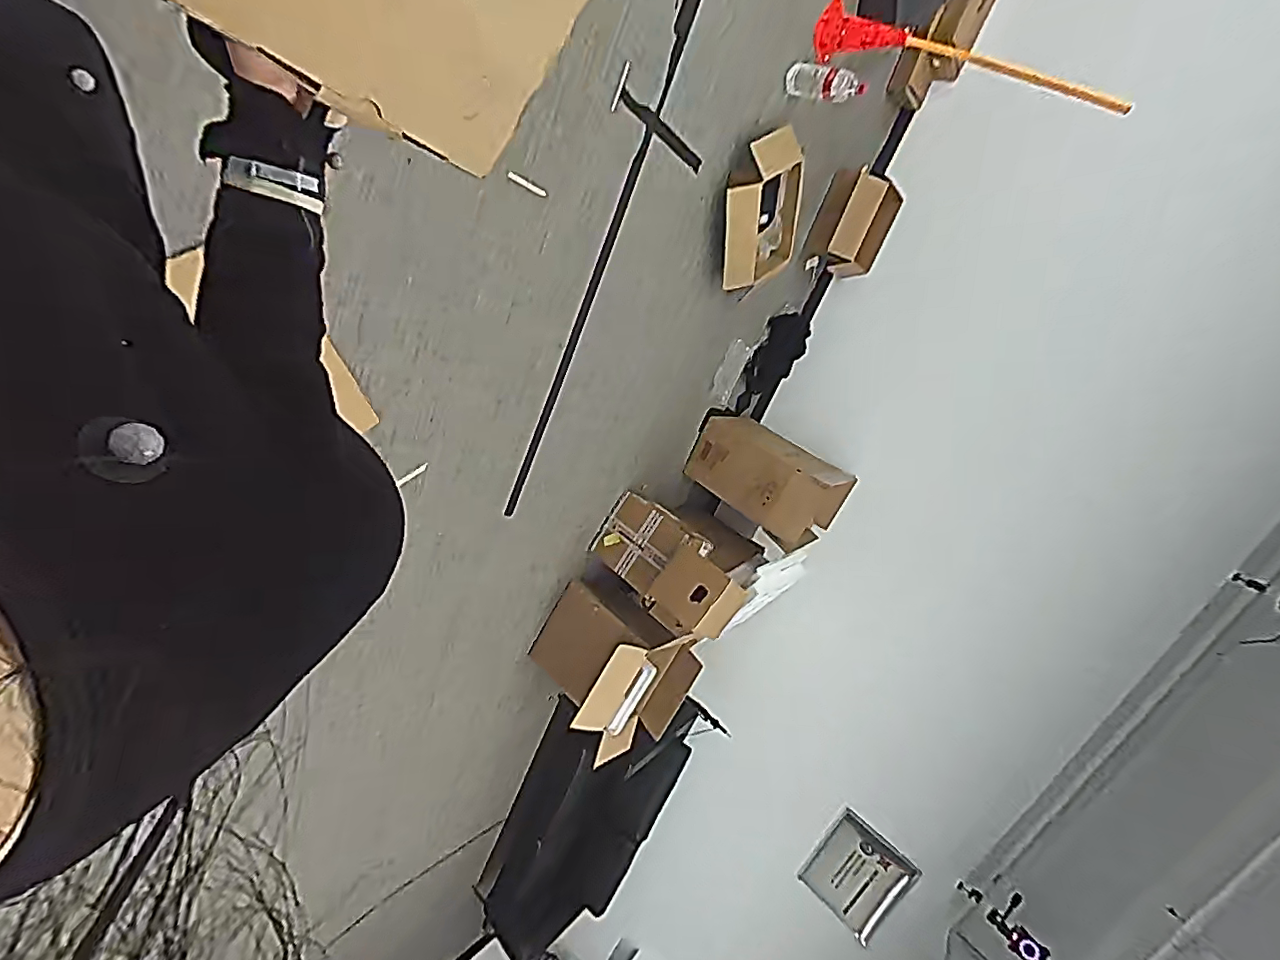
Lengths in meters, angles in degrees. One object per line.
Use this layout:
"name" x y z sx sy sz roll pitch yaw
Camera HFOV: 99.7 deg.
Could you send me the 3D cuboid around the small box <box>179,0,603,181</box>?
"small box" -0.132 -0.301 0.264 0.179 0.176 0.168 -46 165 23
